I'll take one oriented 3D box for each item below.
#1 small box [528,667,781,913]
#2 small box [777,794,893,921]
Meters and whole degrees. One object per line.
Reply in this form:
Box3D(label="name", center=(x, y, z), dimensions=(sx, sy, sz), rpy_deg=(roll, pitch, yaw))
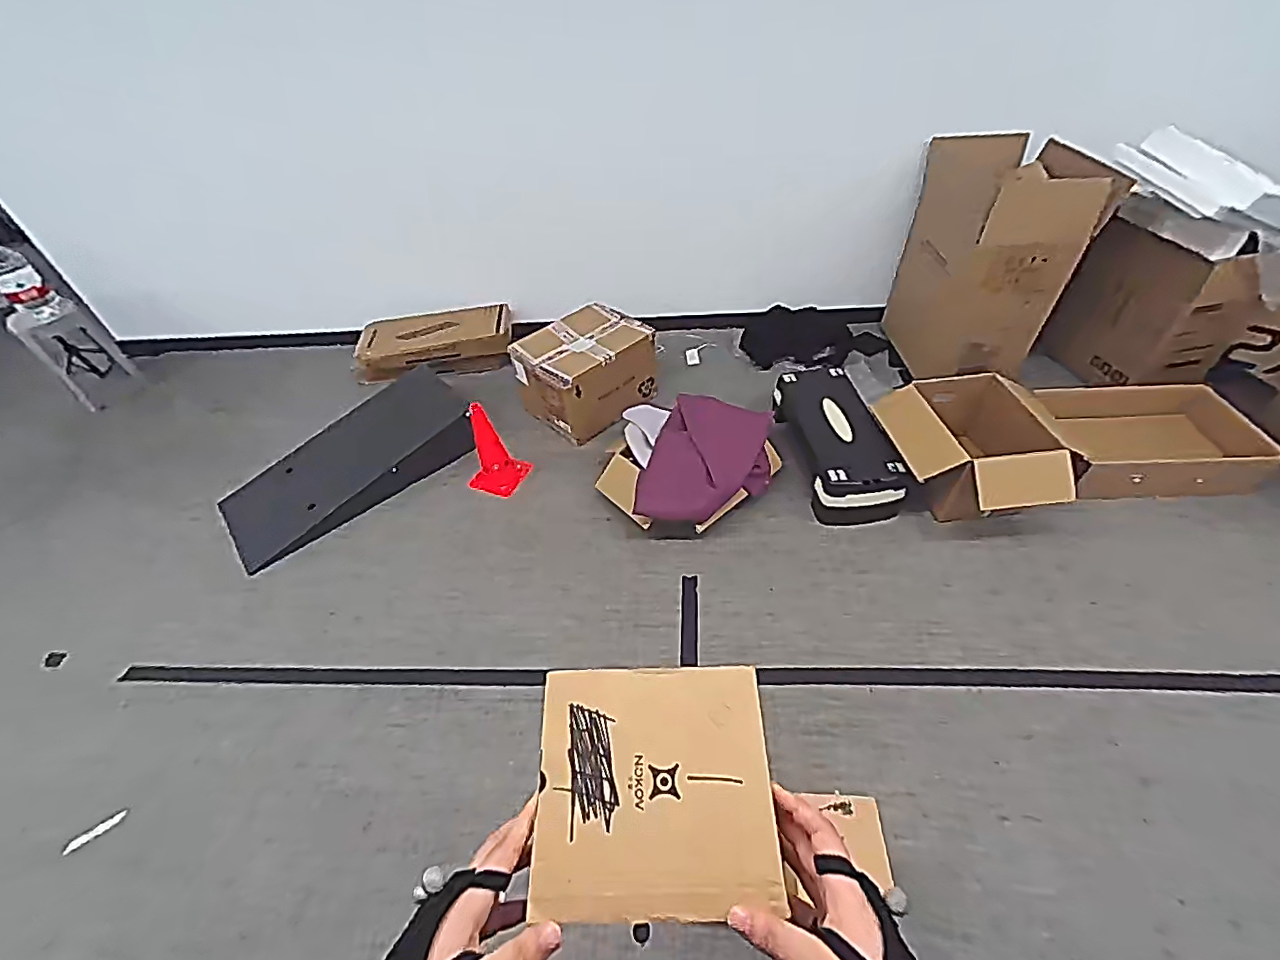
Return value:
Box3D(label="small box", center=(0.014, 0.274, 0.475), dimensions=(0.179, 0.176, 0.168), rpy_deg=(-2, 54, 2))
Box3D(label="small box", center=(0.359, 0.721, 1.031), dimensions=(0.168, 0.176, 0.179), rpy_deg=(0, 46, 5))
